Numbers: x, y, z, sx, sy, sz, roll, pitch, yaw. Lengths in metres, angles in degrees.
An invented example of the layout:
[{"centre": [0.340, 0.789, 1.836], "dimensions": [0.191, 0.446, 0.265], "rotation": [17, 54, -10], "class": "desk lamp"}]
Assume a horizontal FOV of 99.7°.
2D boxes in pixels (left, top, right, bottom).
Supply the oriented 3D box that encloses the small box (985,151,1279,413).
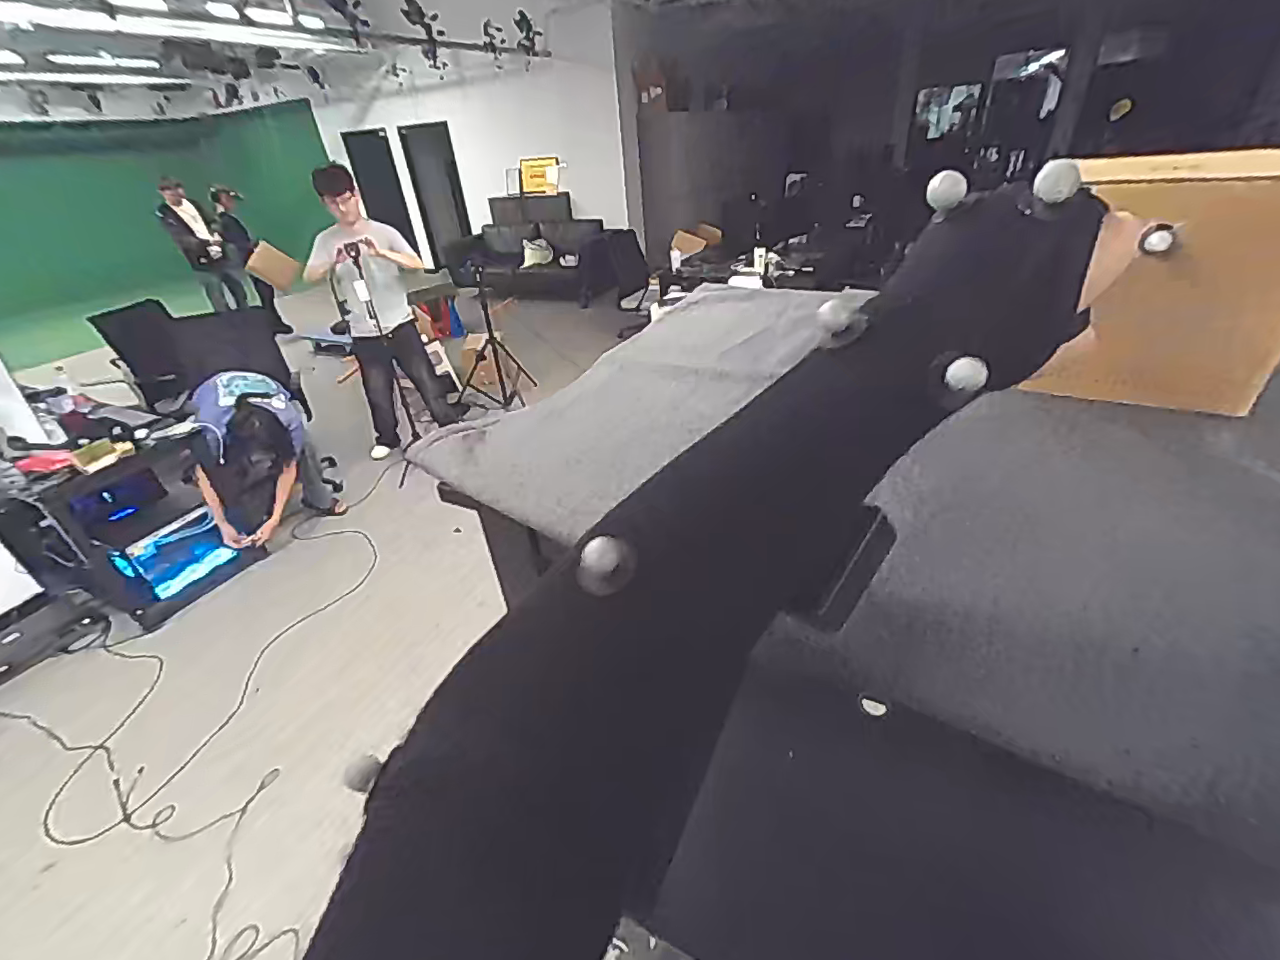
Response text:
[{"centre": [0.423, -0.171, 0.460], "dimensions": [0.179, 0.176, 0.168], "rotation": [15, 38, 29], "class": "small box"}]
